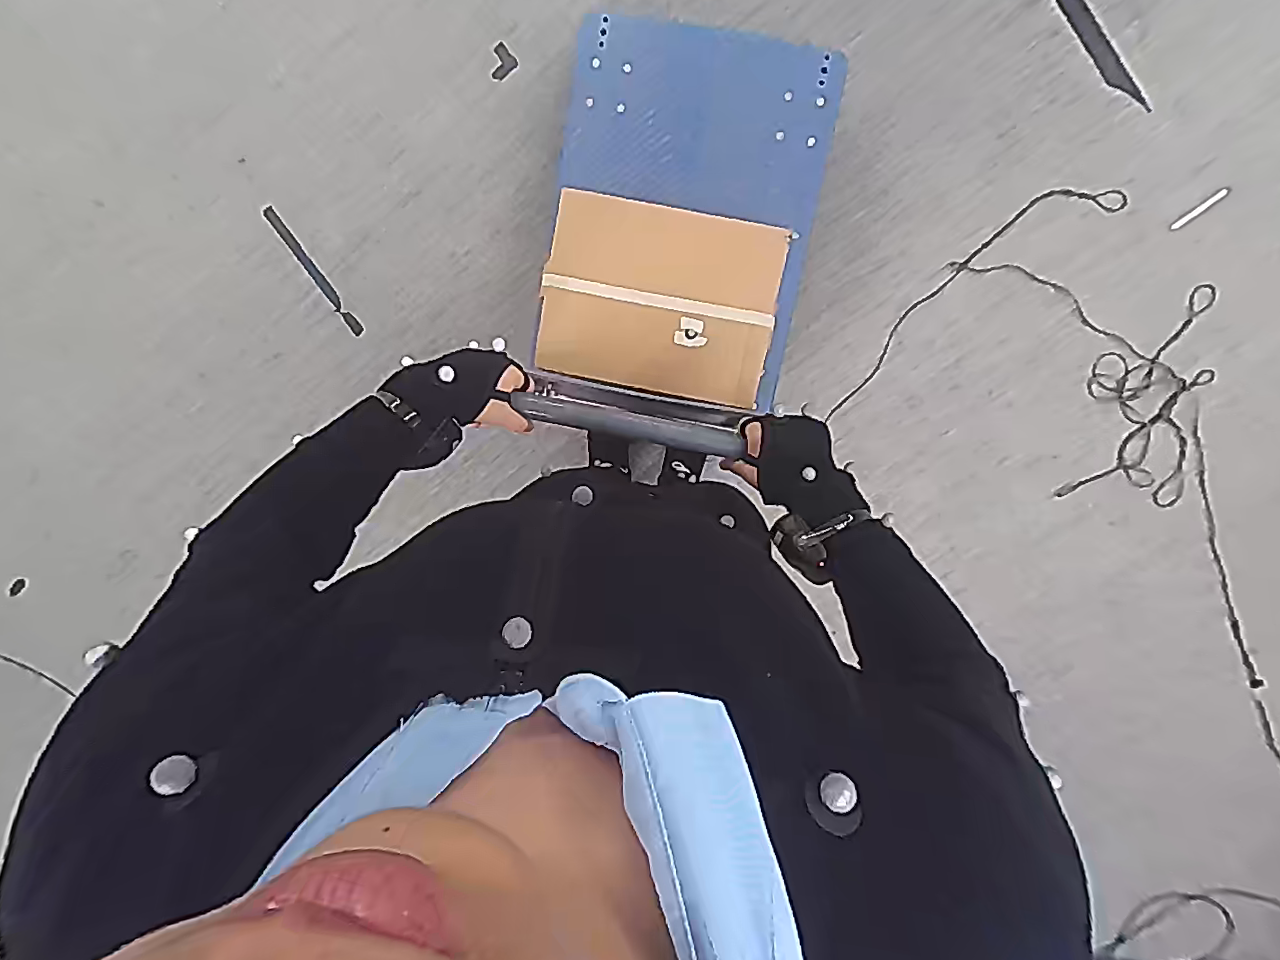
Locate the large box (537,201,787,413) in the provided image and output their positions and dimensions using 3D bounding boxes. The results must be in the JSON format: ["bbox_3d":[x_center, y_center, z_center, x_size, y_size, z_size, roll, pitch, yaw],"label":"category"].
[{"bbox_3d":[0.035,-0.323,1.102,0.408,0.320,0.320,11,99,0],"label":"large box"}]
